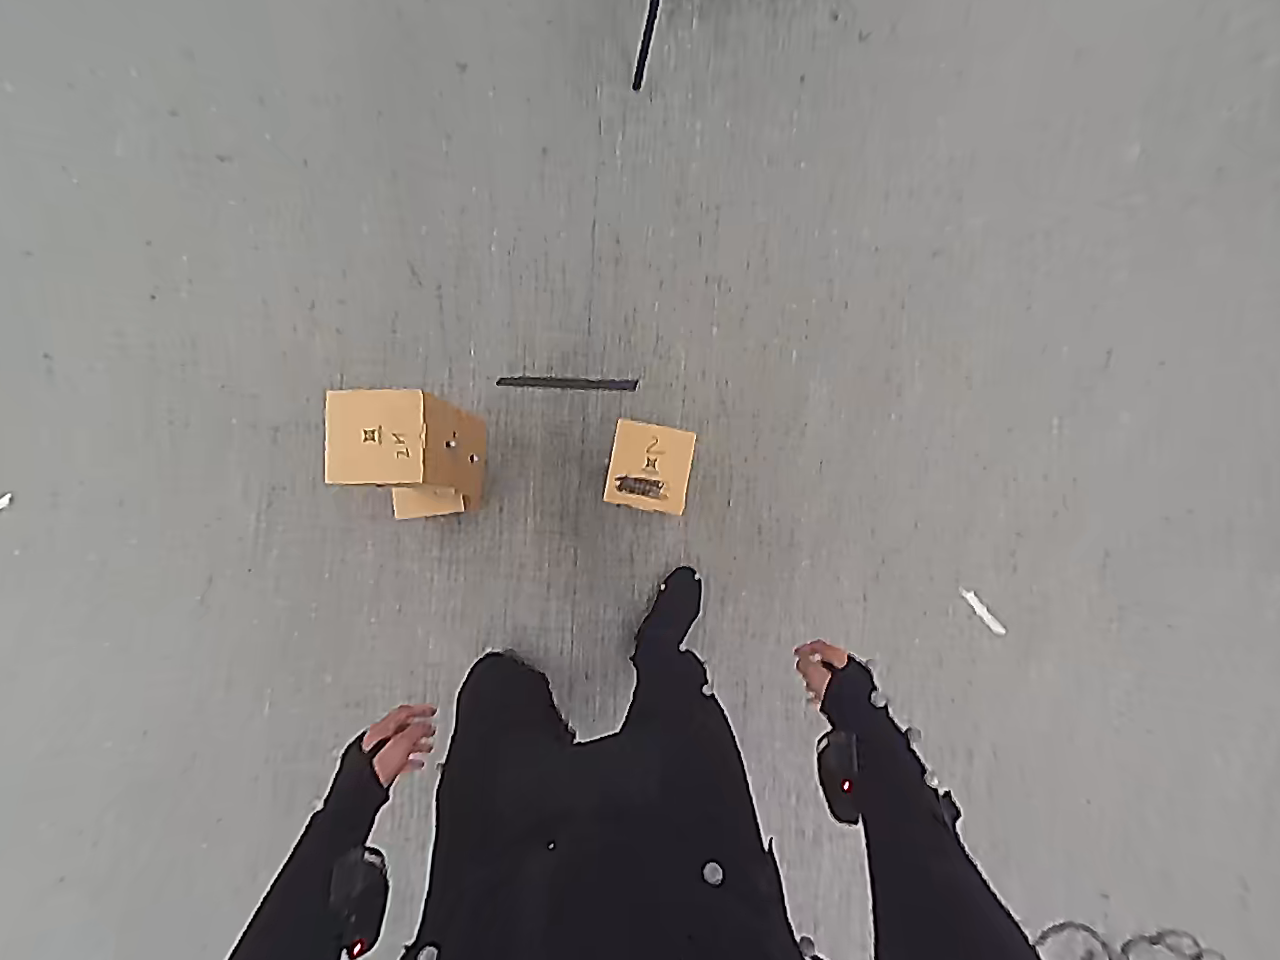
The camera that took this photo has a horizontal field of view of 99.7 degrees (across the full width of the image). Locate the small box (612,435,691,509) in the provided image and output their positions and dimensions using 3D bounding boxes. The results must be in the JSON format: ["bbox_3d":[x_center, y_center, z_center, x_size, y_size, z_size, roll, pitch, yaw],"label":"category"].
[{"bbox_3d":[0.026,-0.014,1.338,0.179,0.176,0.168,4,88,-1],"label":"small box"}]

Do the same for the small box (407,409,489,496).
[{"bbox_3d":[-0.438,-0.062,1.173,0.168,0.176,0.179,7,88,1],"label":"small box"}]

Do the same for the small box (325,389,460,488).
[{"bbox_3d":[-0.453,-0.071,1.009,0.179,0.176,0.168,-1,87,1],"label":"small box"}]

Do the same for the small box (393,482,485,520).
[{"bbox_3d":[-0.494,0.001,1.334,0.168,0.176,0.179,-8,88,0],"label":"small box"}]
